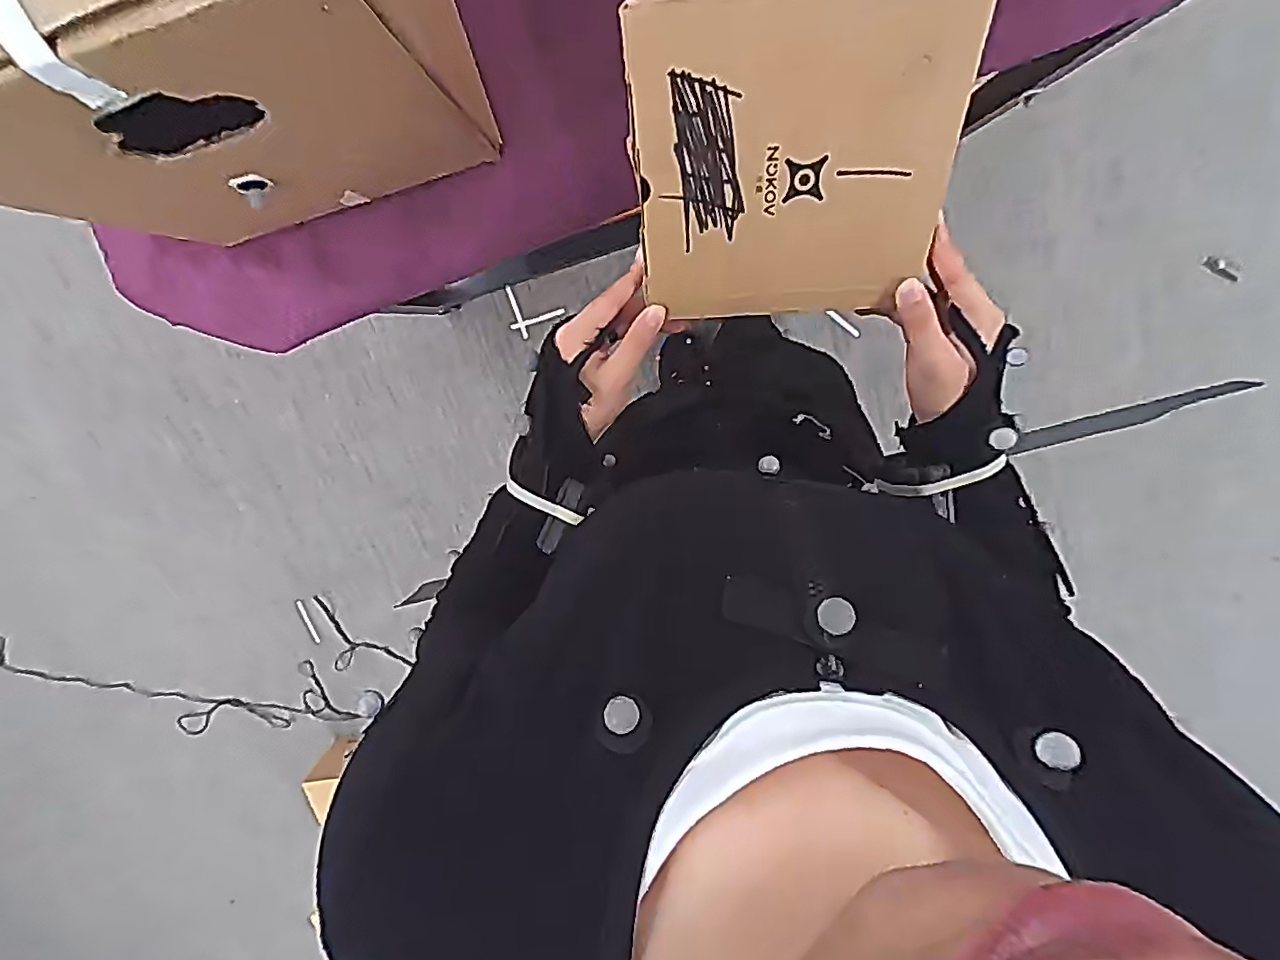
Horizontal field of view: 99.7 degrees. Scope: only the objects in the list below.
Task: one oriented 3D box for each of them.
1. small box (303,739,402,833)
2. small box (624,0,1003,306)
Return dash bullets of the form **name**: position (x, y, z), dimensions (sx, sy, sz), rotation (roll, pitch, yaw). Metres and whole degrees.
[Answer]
- **small box**: position (-0.831, 0.885, 1.581), dimensions (0.168, 0.176, 0.179), rotation (-10, 107, 6)
- **small box**: position (0.090, -0.230, 0.354), dimensions (0.179, 0.176, 0.168), rotation (-2, 134, 6)
